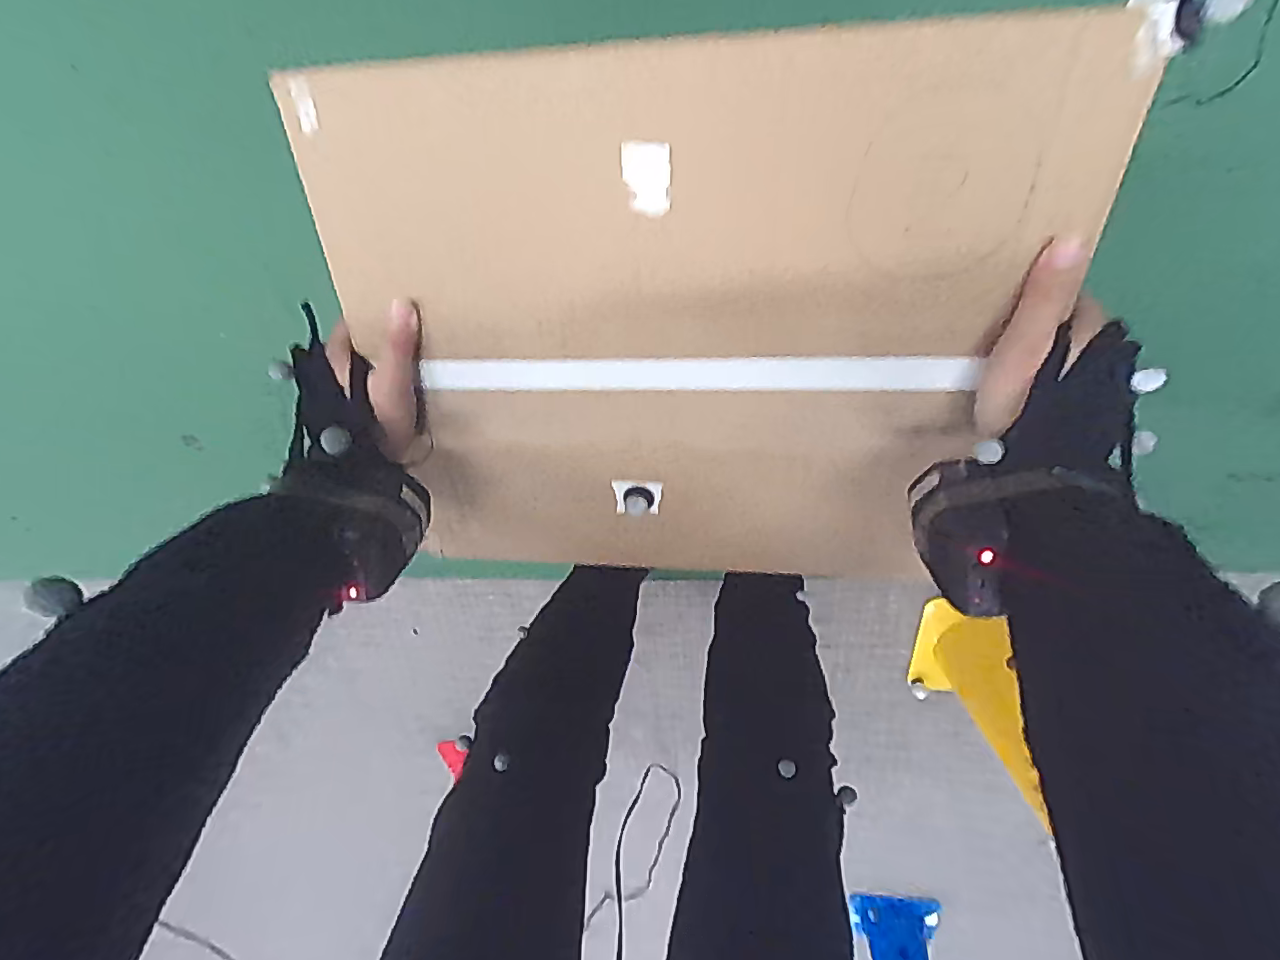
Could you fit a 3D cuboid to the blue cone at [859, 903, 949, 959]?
[{"bbox_3d":[0.593,1.120,1.121,0.192,0.380,0.193,-2,118,10],"label":"blue cone"}]
